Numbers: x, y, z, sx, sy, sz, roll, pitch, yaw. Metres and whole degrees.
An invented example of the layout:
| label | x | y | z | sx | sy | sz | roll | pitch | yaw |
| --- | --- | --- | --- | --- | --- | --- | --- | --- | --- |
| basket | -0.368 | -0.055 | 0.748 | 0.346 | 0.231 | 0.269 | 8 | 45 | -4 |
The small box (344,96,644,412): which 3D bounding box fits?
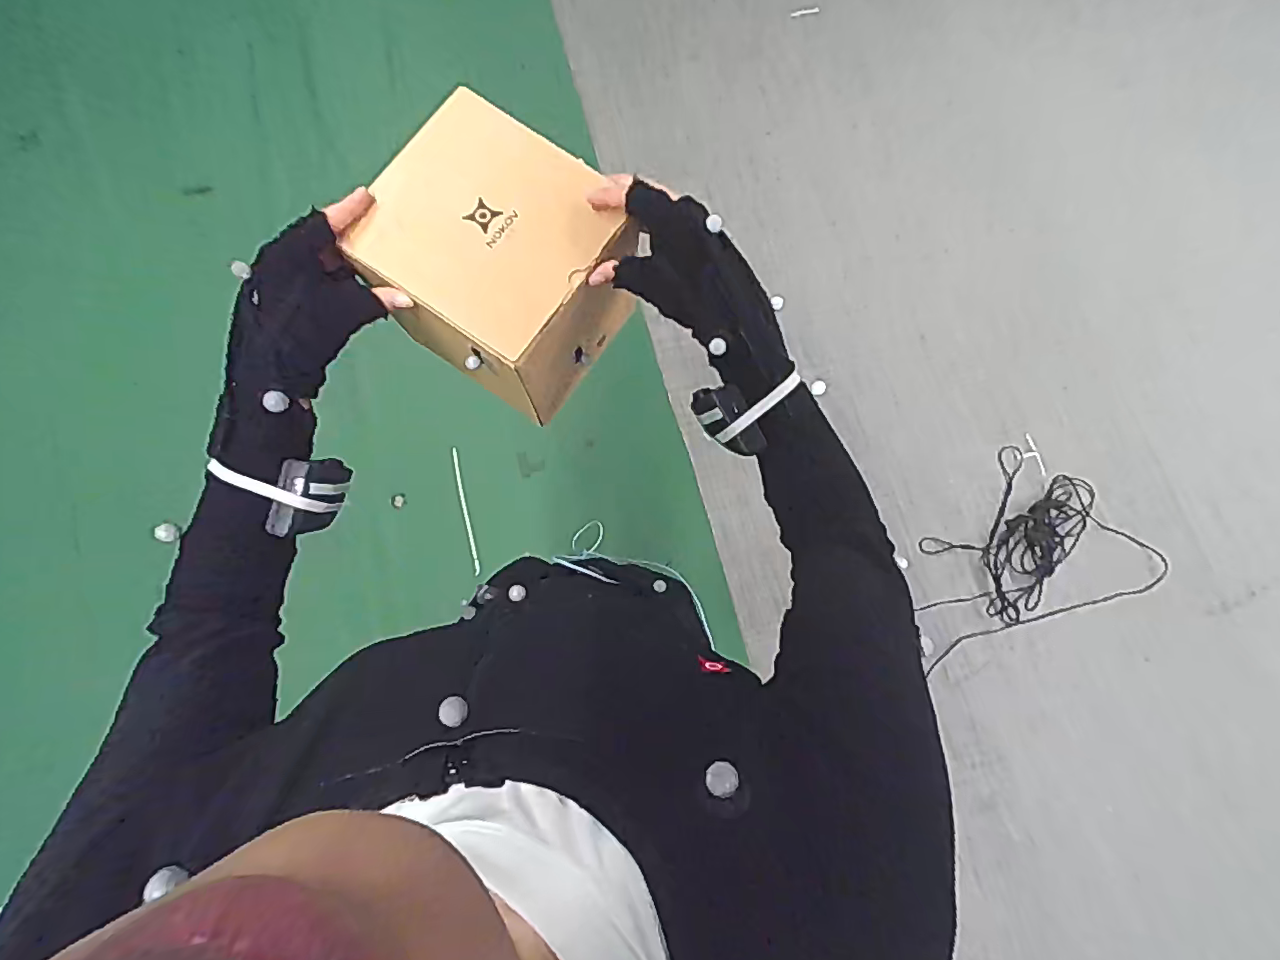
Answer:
| label | x | y | z | sx | sy | sz | roll | pitch | yaw |
| --- | --- | --- | --- | --- | --- | --- | --- | --- | --- |
| small box | -0.117 | -0.187 | 0.500 | 0.179 | 0.176 | 0.168 | 35 | 80 | 3 |
